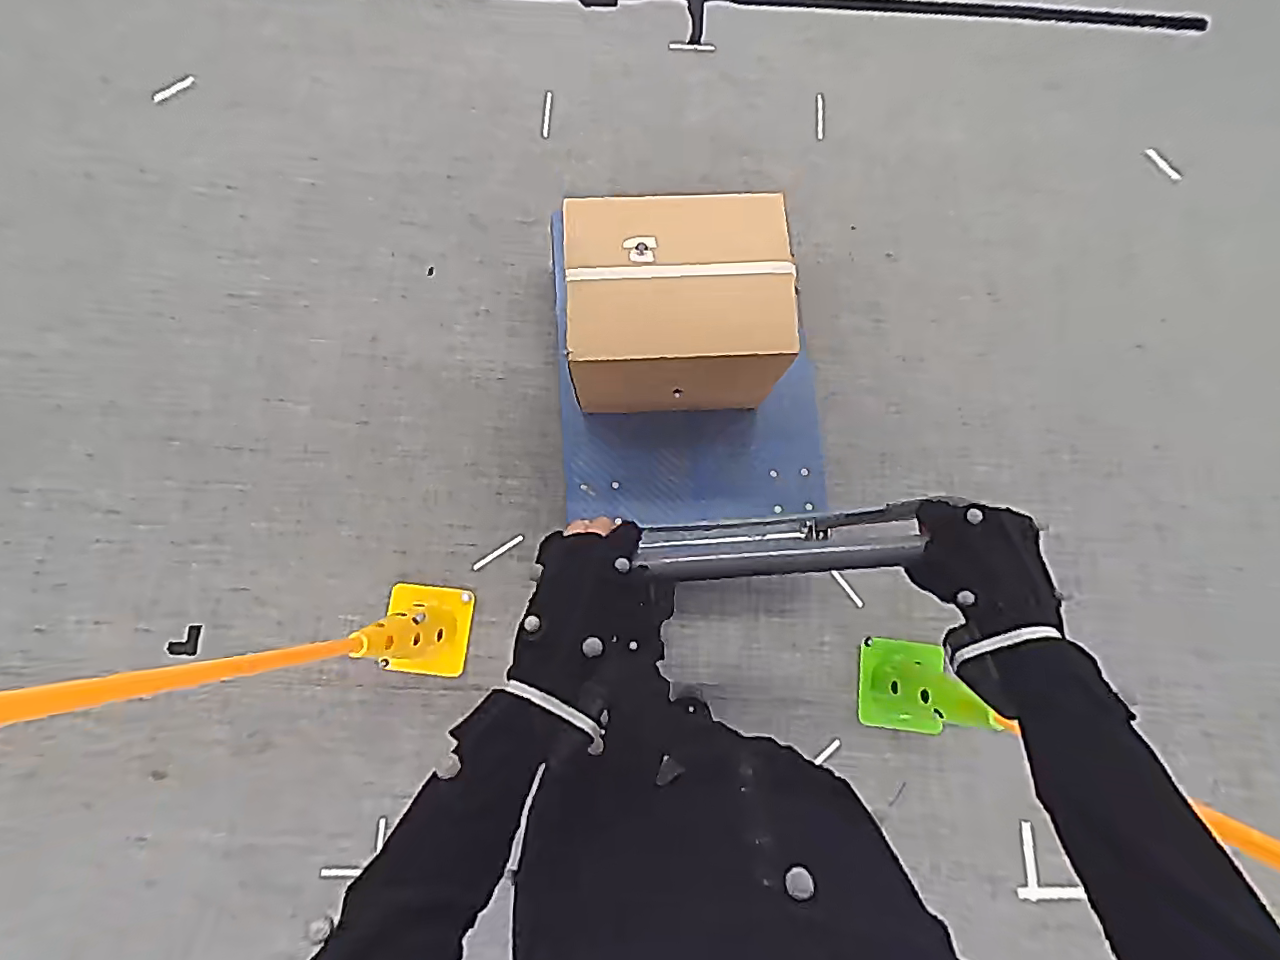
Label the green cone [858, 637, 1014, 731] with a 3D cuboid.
[{"bbox_3d":[0.626,0.452,1.121,0.202,0.368,0.200,7,79,-1],"label":"green cone"}]

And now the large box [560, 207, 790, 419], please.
[{"bbox_3d":[0.060,-0.320,1.121,0.408,0.320,0.320,-3,80,-1],"label":"large box"}]
